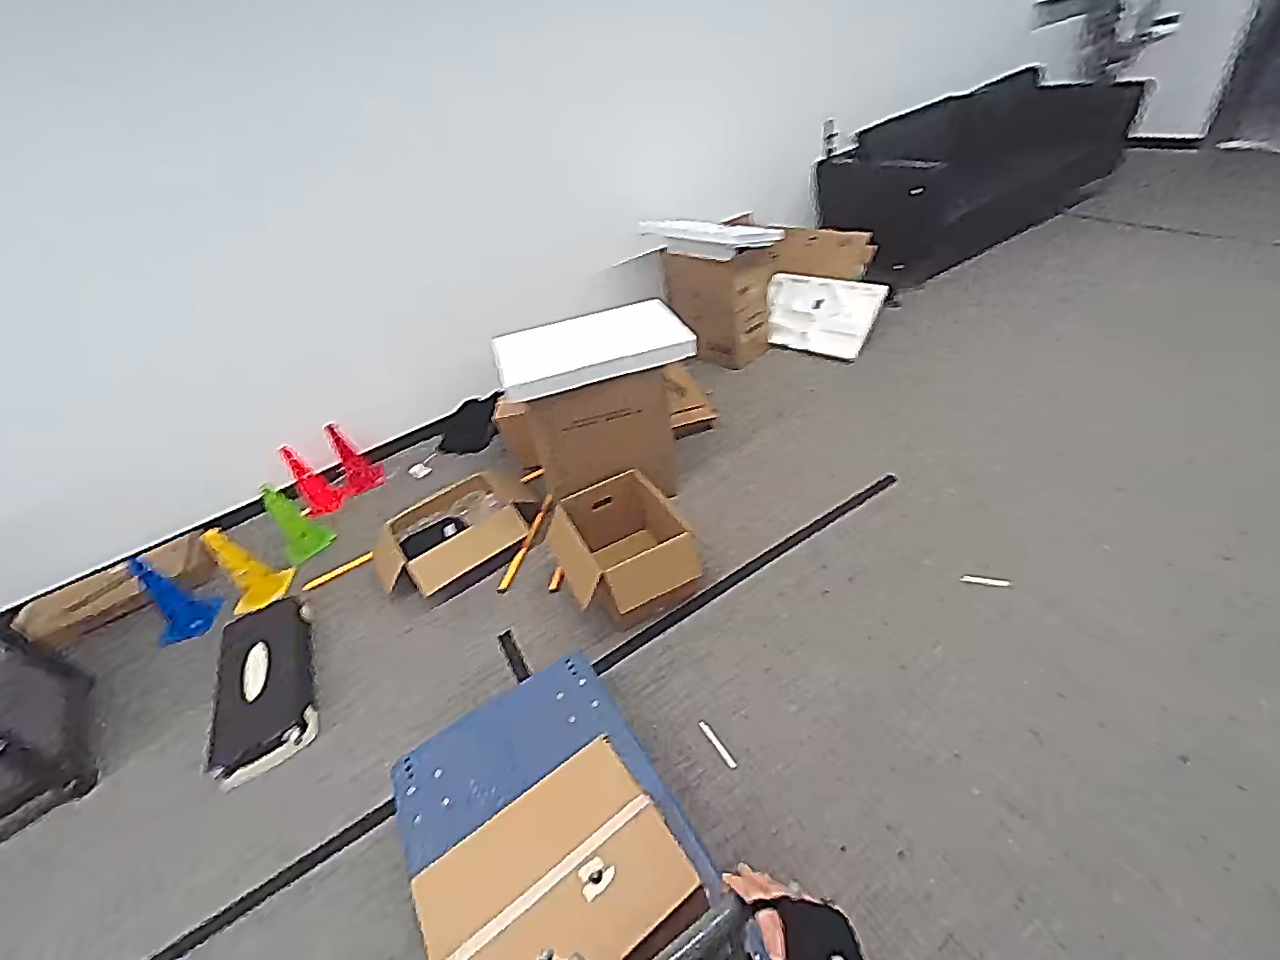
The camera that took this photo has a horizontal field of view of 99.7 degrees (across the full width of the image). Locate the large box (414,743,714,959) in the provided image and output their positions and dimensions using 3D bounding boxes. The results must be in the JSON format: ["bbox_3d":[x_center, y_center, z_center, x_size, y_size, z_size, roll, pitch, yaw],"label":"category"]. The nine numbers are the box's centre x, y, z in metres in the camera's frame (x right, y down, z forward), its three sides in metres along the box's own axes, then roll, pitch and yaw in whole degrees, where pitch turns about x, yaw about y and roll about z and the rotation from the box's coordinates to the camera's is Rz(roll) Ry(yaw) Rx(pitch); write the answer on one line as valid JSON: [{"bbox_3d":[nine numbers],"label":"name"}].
[{"bbox_3d":[-0.121,0.794,0.984,0.408,0.320,0.320,-30,42,-22],"label":"large box"}]
